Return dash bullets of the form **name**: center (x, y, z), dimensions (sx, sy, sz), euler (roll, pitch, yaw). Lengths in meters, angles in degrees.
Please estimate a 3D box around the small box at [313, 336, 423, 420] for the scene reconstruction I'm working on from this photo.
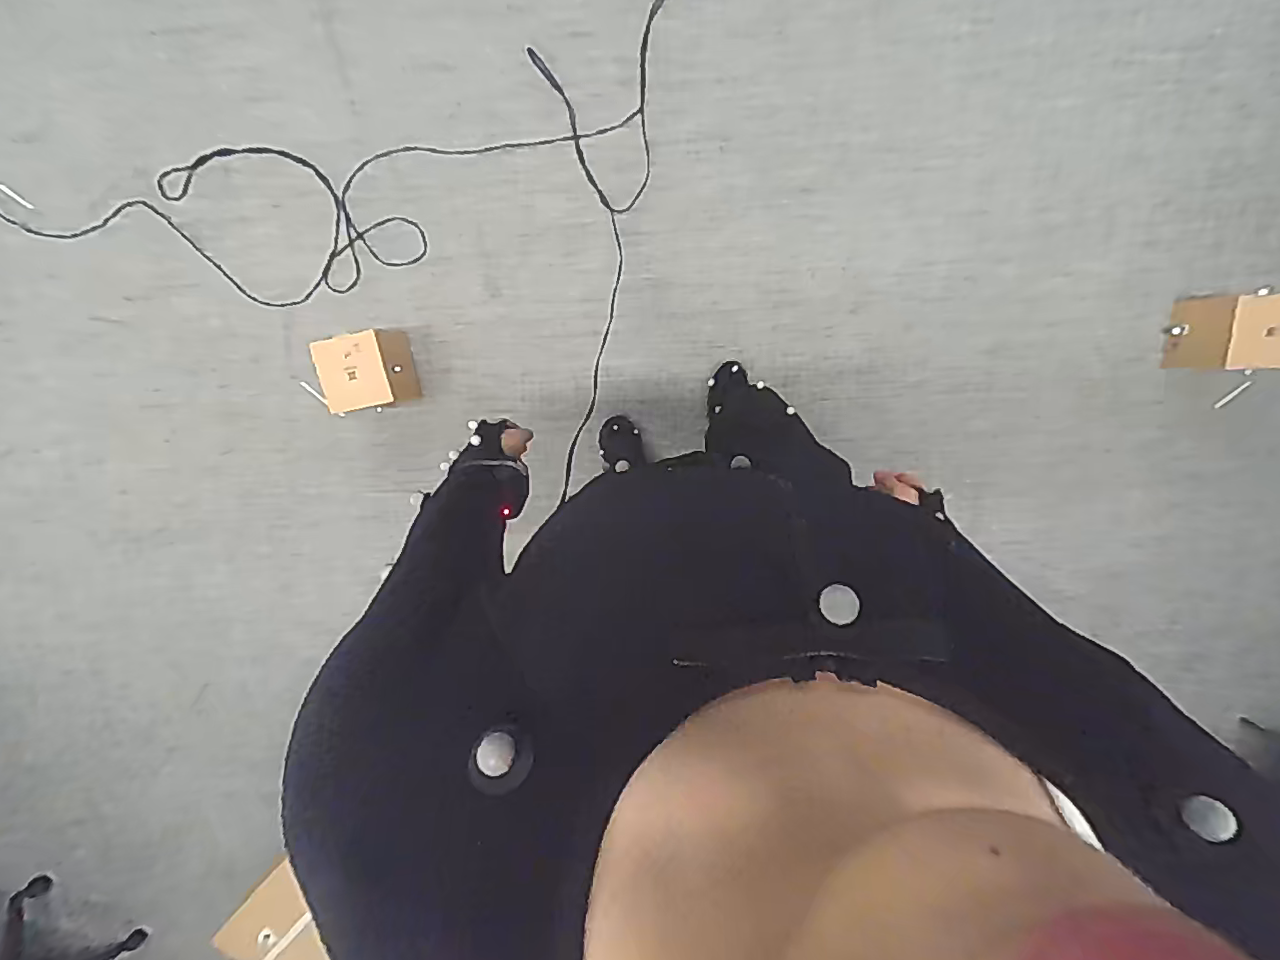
- **small box**: center (-0.673, -0.259, 1.362), dimensions (0.168, 0.176, 0.179), euler (-11, 101, 4)

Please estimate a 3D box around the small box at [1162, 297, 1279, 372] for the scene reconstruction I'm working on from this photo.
- **small box**: center (1.433, -0.348, 1.302), dimensions (0.179, 0.176, 0.168), euler (-2, 102, 3)
